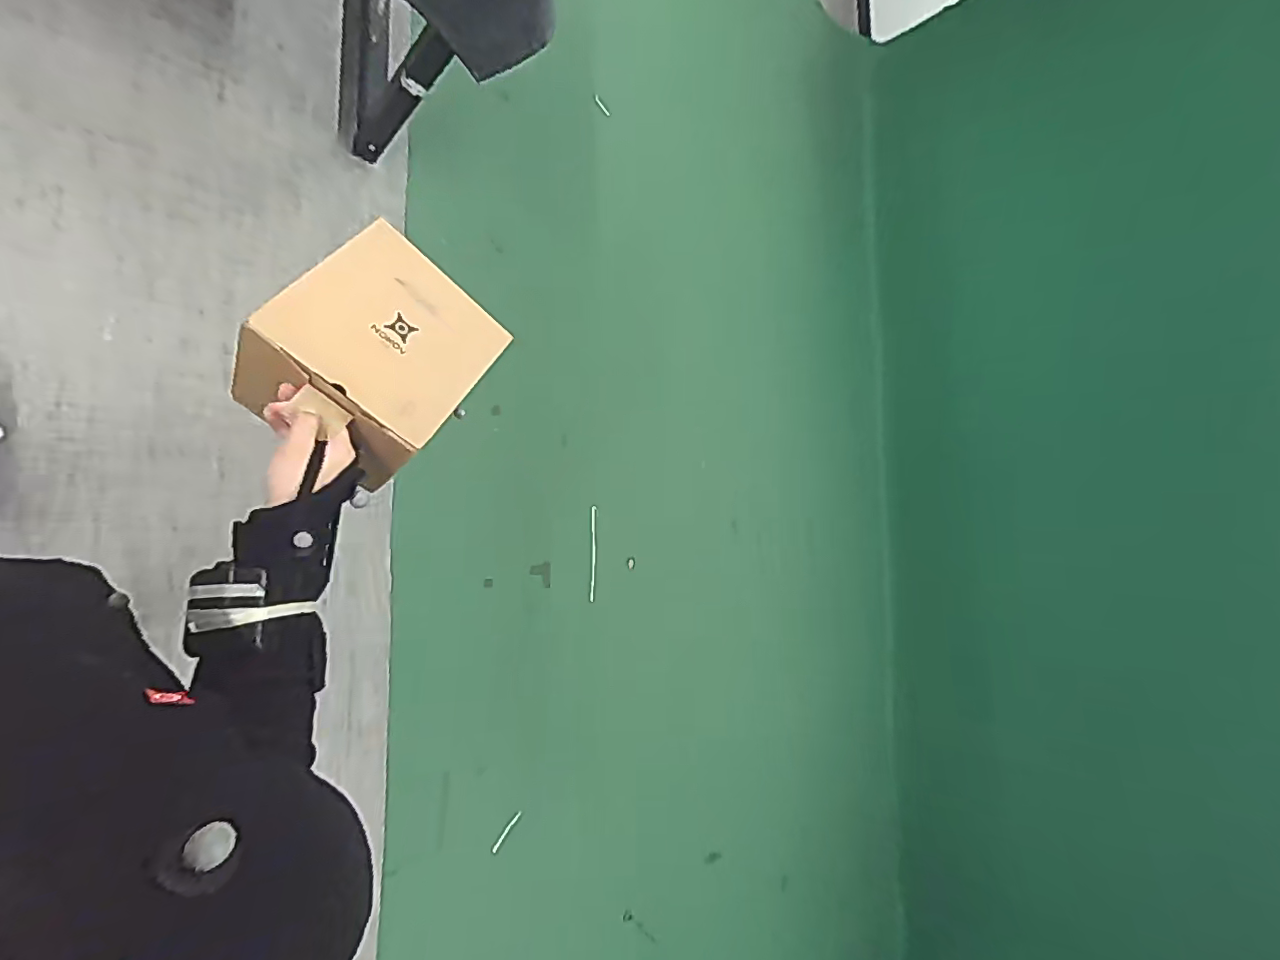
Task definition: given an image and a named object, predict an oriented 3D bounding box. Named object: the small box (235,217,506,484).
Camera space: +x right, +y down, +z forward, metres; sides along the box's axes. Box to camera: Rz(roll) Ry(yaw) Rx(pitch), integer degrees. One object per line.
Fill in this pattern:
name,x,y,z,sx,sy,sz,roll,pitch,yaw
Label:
small box,-0.277,-0.120,0.559,0.168,0.176,0.179,42,52,-23
